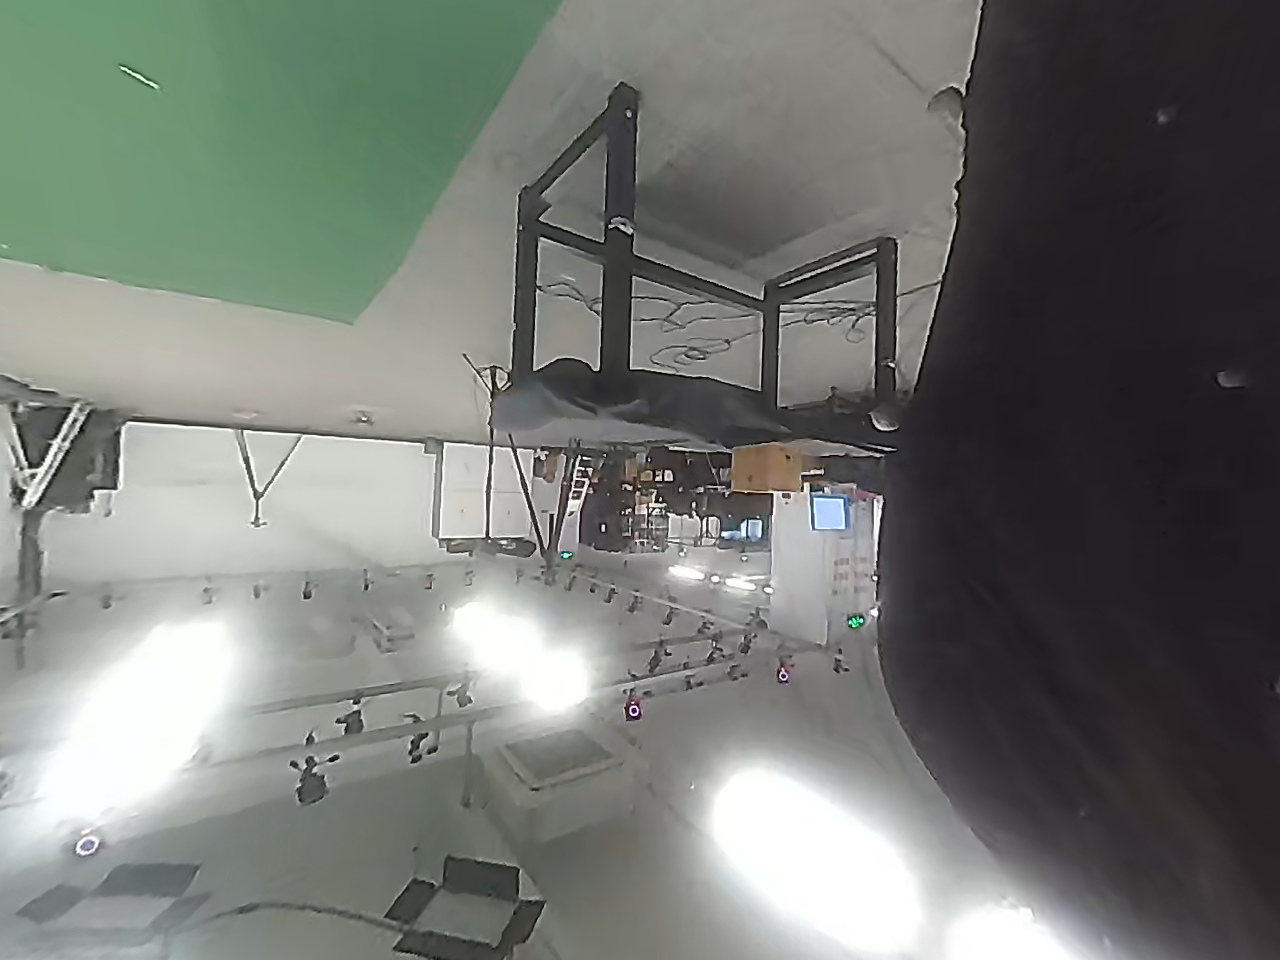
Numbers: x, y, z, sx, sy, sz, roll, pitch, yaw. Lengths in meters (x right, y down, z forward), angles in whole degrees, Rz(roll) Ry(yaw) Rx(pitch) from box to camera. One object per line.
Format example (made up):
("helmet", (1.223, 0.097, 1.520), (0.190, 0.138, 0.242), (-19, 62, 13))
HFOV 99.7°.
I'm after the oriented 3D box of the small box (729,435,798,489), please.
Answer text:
("small box", (0.432, -0.060, 1.872), (0.168, 0.176, 0.179), (4, 177, -34))
